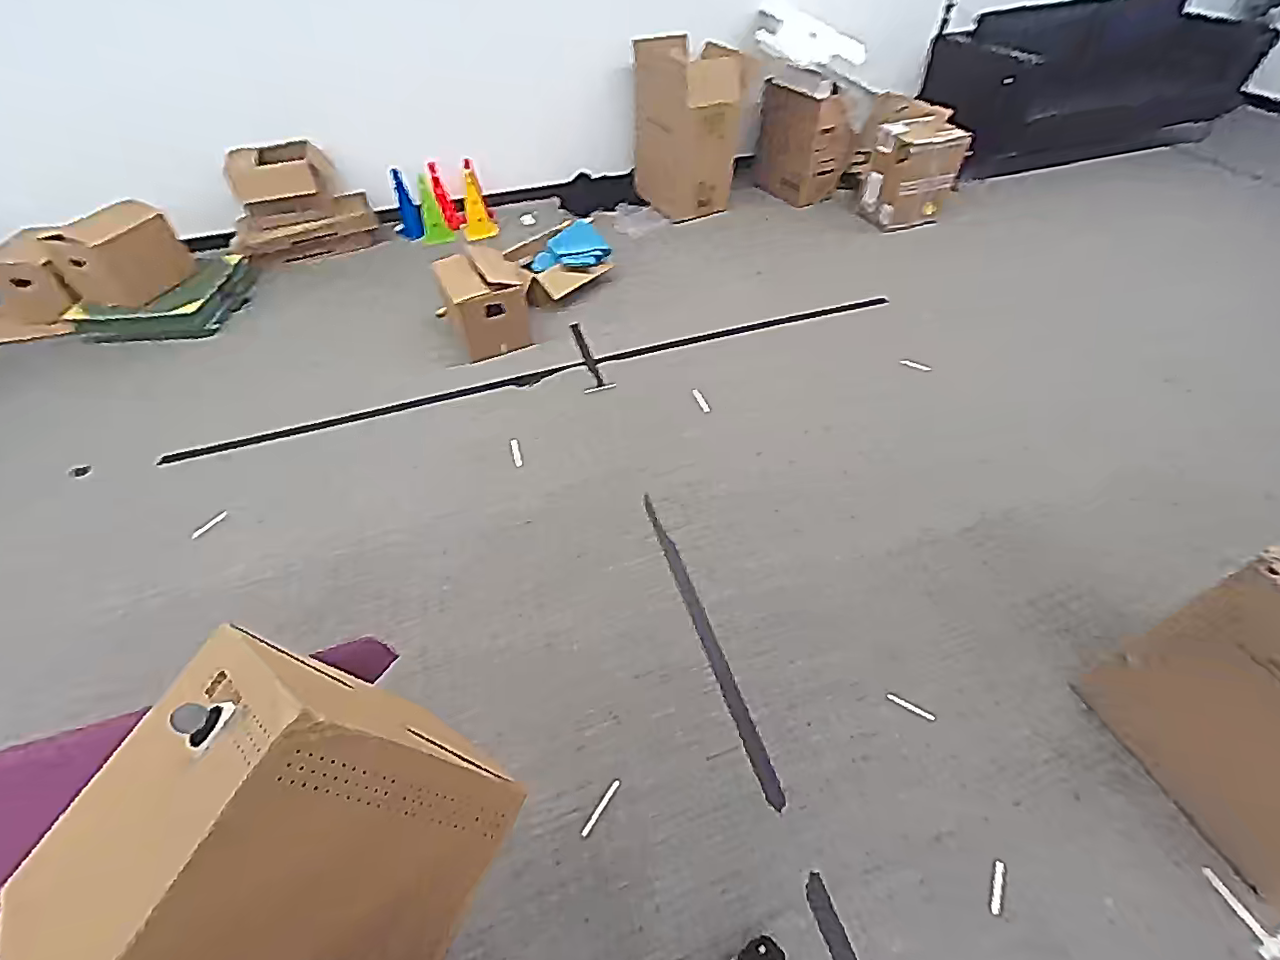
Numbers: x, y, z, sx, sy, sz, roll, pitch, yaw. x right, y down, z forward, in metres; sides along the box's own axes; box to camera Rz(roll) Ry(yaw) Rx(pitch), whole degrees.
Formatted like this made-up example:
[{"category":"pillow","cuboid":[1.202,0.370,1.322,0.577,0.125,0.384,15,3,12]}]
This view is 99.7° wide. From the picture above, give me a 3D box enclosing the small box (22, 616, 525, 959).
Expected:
[{"category":"small box","cuboid":[-0.206,0.210,0.335,0.168,0.179,0.176,4,56,43]}]
